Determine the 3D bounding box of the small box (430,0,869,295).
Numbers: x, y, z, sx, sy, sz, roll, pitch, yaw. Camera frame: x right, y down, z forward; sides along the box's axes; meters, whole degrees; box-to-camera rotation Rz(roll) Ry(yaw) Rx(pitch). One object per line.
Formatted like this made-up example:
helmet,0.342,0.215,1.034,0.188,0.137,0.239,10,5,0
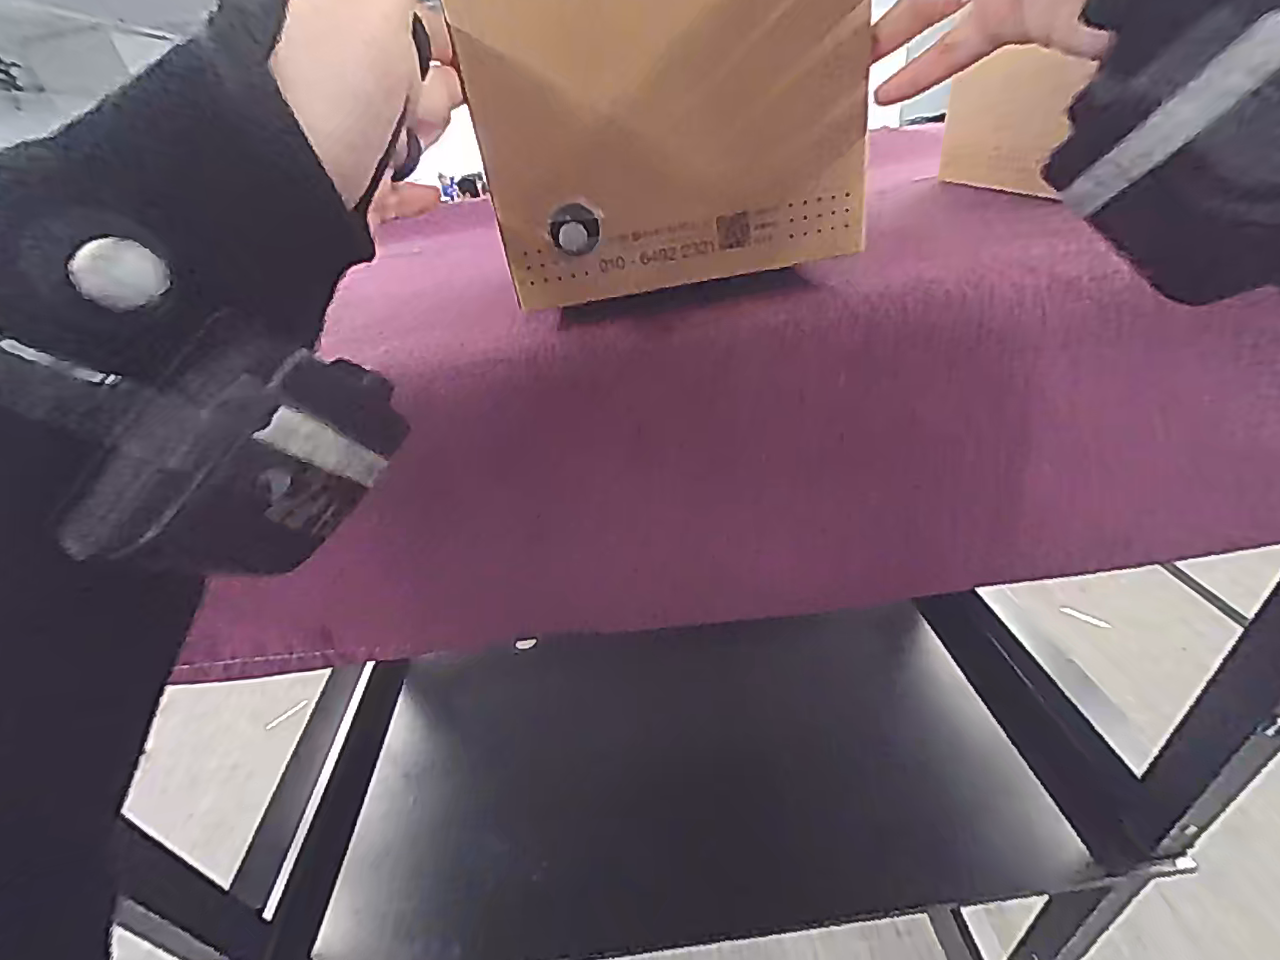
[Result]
small box,0.004,-0.200,0.273,0.168,0.176,0.179,-10,28,1

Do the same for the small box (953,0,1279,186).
small box,0.329,-0.294,0.342,0.168,0.176,0.179,-8,33,4
